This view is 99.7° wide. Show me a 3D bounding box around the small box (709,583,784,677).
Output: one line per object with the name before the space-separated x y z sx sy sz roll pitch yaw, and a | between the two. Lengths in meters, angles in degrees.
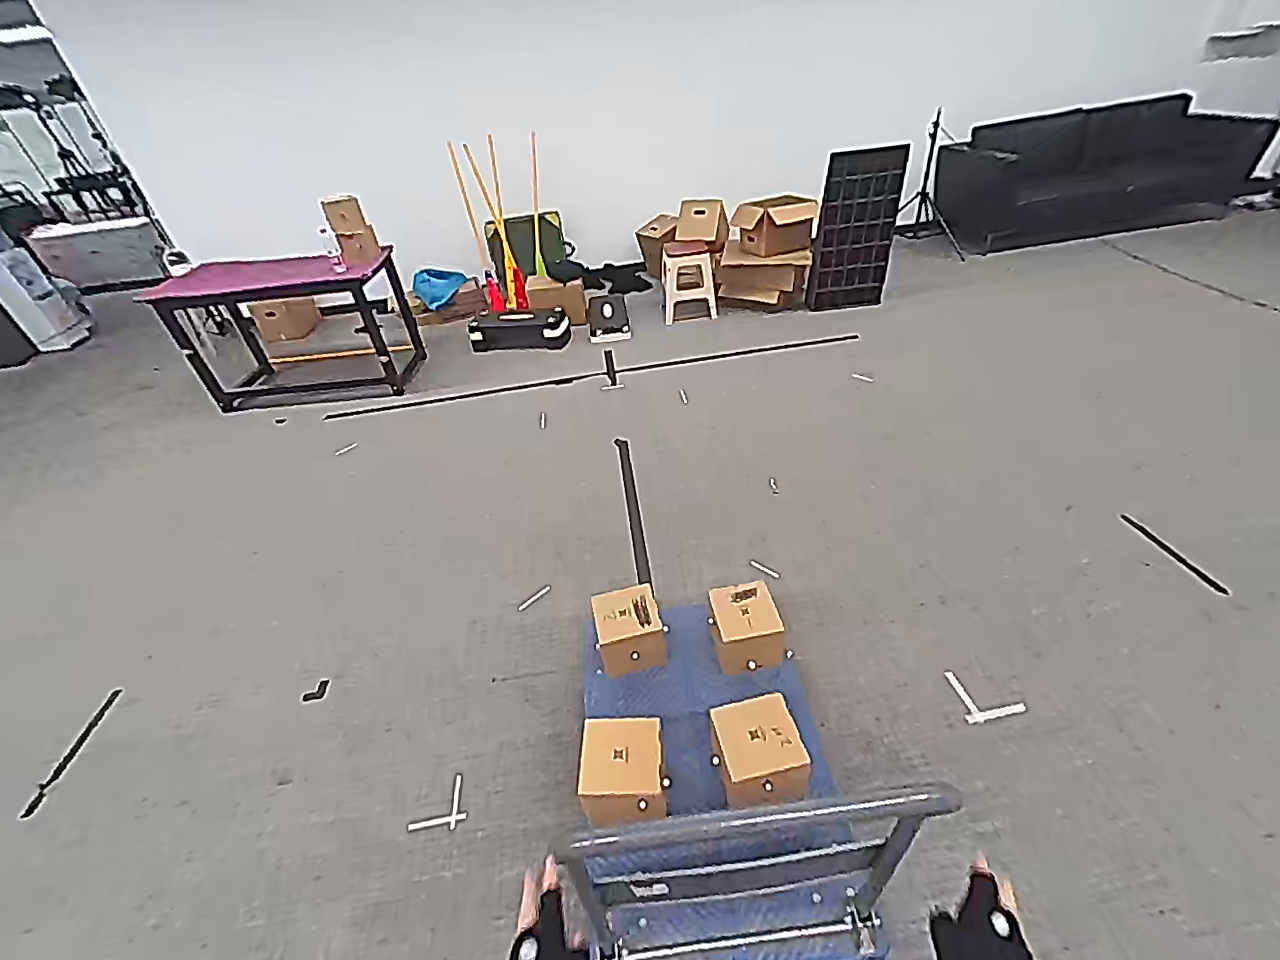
small box | 0.290 0.418 1.507 0.168 0.176 0.179 -10 39 -3

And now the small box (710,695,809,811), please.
small box | 0.269 0.630 1.242 0.179 0.176 0.168 -11 38 -5

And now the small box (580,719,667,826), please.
small box | -0.032 0.671 1.237 0.179 0.176 0.168 -3 37 3
